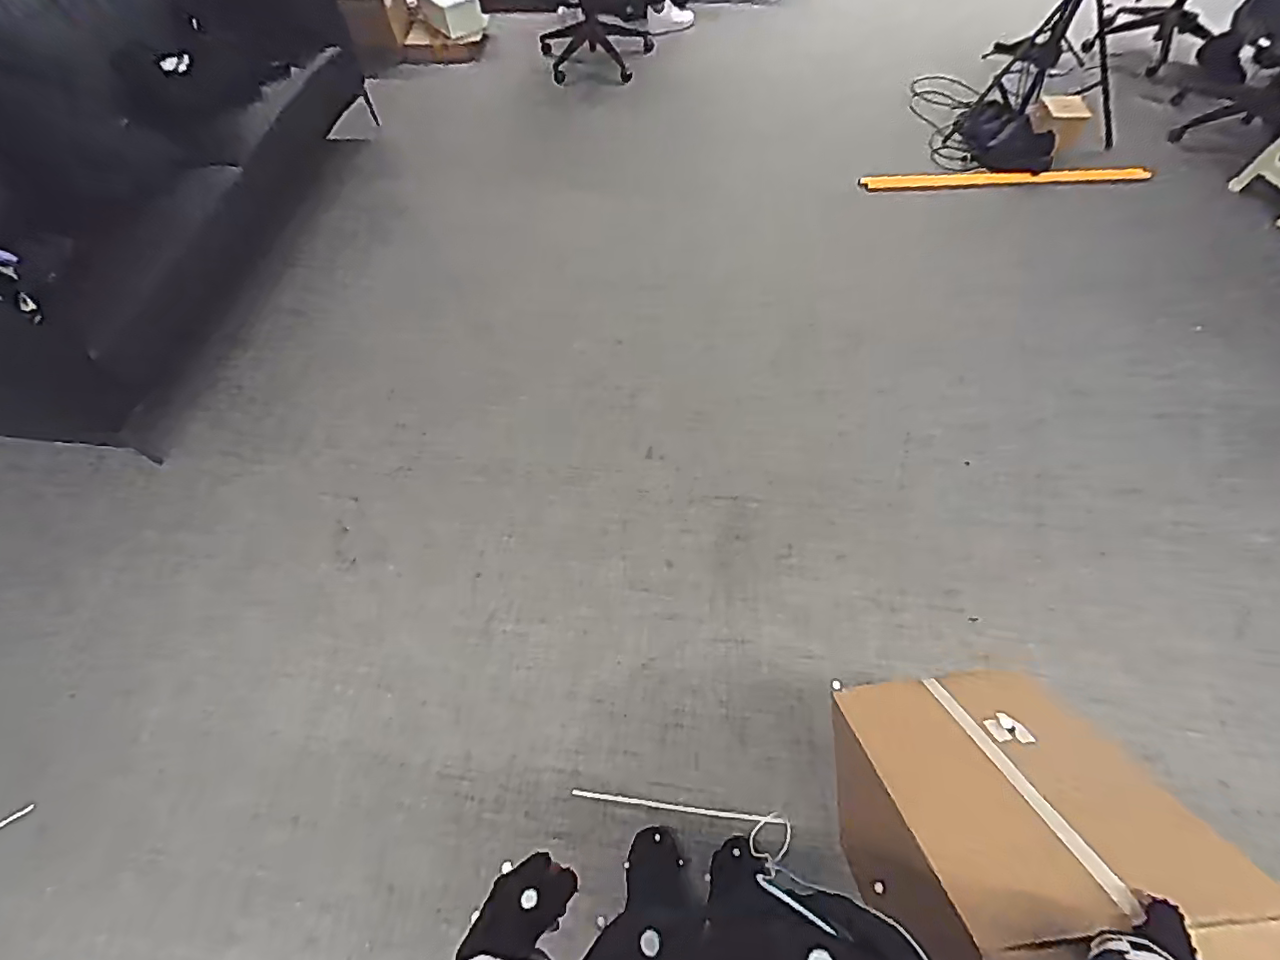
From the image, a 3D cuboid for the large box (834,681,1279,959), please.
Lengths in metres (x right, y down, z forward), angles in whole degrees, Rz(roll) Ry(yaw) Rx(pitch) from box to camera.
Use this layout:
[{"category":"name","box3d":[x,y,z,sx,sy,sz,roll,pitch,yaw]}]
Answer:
[{"category":"large box","box3d":[0.497,0.541,0.739,0.320,0.408,0.320,-6,103,1]}]
